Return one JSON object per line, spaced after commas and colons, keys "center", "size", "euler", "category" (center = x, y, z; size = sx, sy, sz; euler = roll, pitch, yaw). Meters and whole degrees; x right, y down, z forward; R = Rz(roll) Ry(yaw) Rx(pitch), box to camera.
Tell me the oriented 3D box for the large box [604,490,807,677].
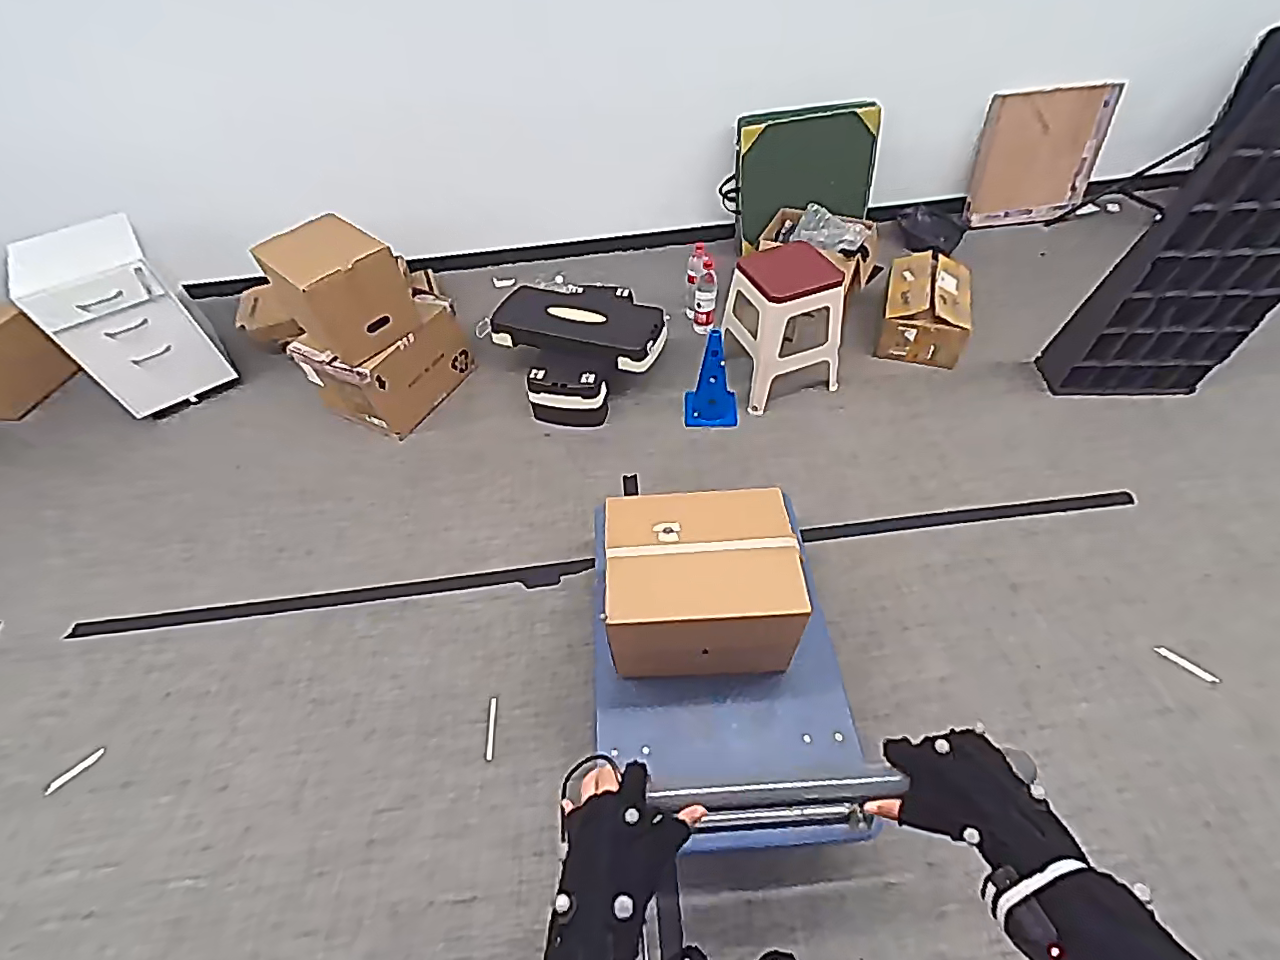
{"center": [0.134, 0.250, 1.266], "size": [0.408, 0.320, 0.320], "euler": [-4, 51, 2], "category": "large box"}
